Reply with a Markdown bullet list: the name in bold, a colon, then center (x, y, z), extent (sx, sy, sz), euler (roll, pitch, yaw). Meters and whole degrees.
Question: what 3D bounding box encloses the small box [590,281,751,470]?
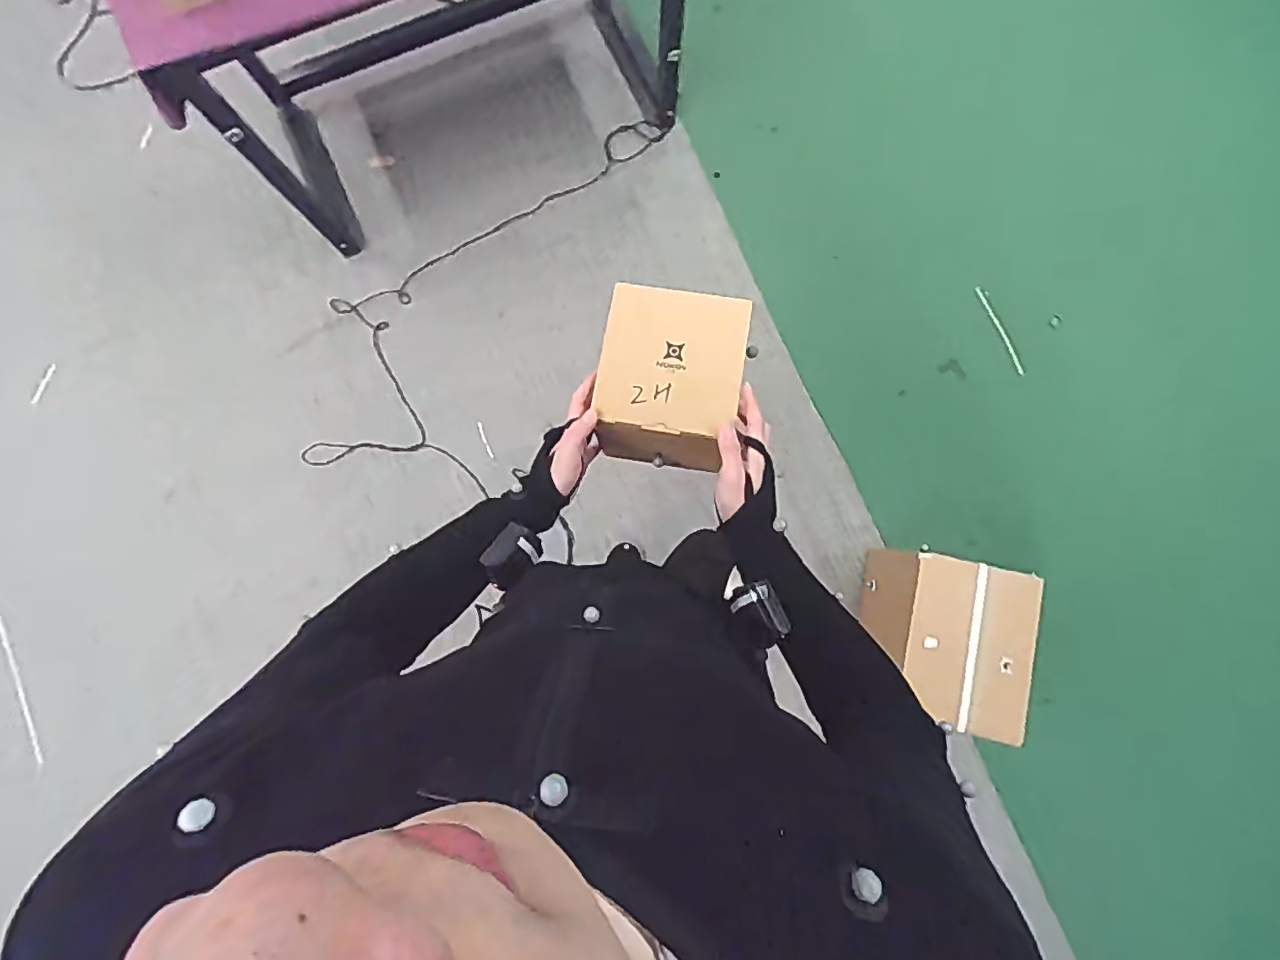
- **small box**: center (0.039, -0.125, 0.699), extent (0.168, 0.176, 0.179), euler (9, 78, 4)
